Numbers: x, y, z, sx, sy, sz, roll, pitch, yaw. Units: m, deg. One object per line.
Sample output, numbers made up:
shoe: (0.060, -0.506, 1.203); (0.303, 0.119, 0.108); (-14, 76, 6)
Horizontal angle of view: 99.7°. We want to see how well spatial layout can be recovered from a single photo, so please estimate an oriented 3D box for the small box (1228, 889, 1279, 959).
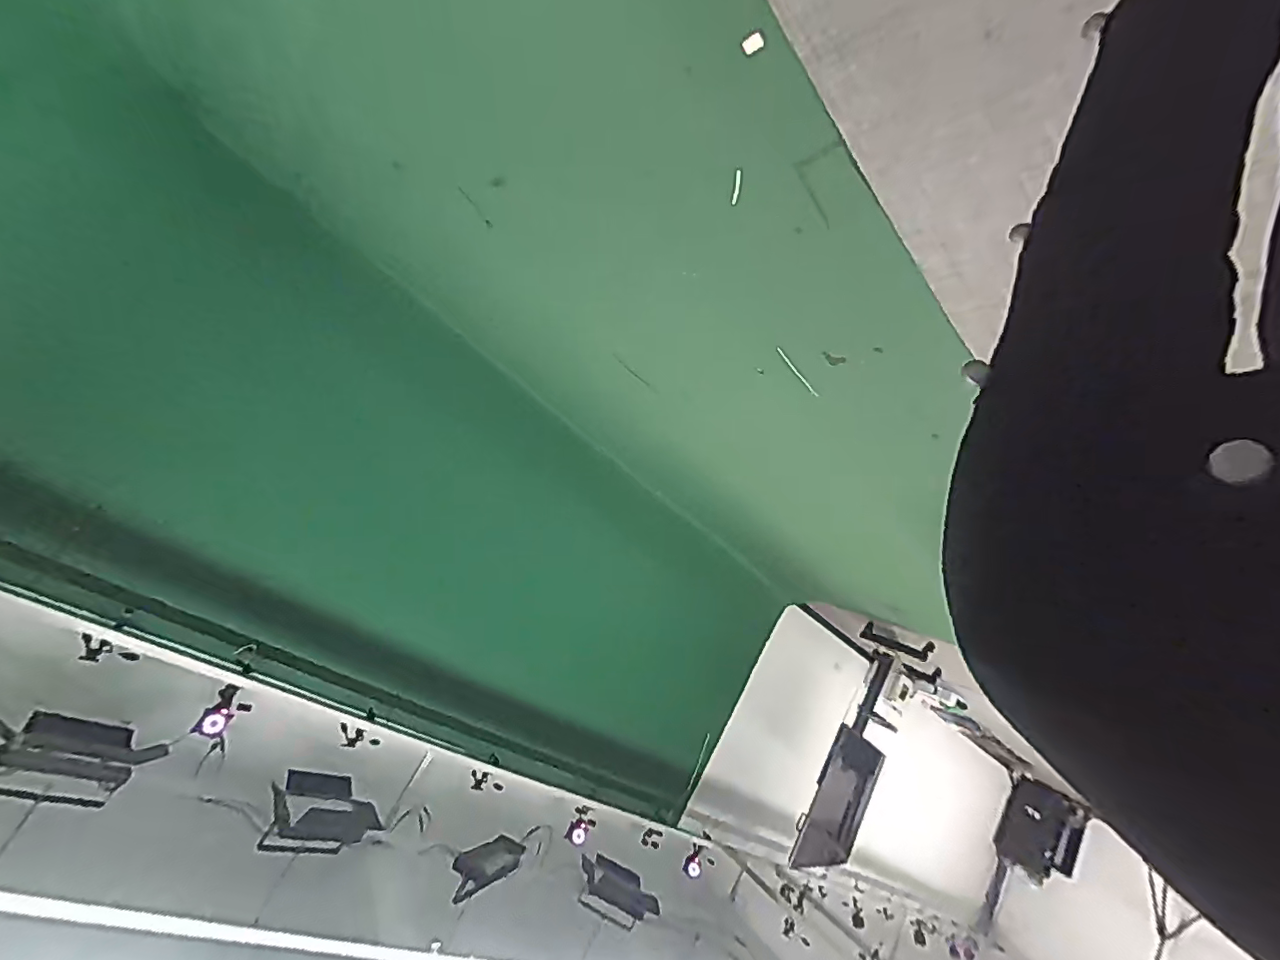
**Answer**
small box: (1.768, 1.260, 1.477); (0.168, 0.176, 0.179); (37, 166, -27)
